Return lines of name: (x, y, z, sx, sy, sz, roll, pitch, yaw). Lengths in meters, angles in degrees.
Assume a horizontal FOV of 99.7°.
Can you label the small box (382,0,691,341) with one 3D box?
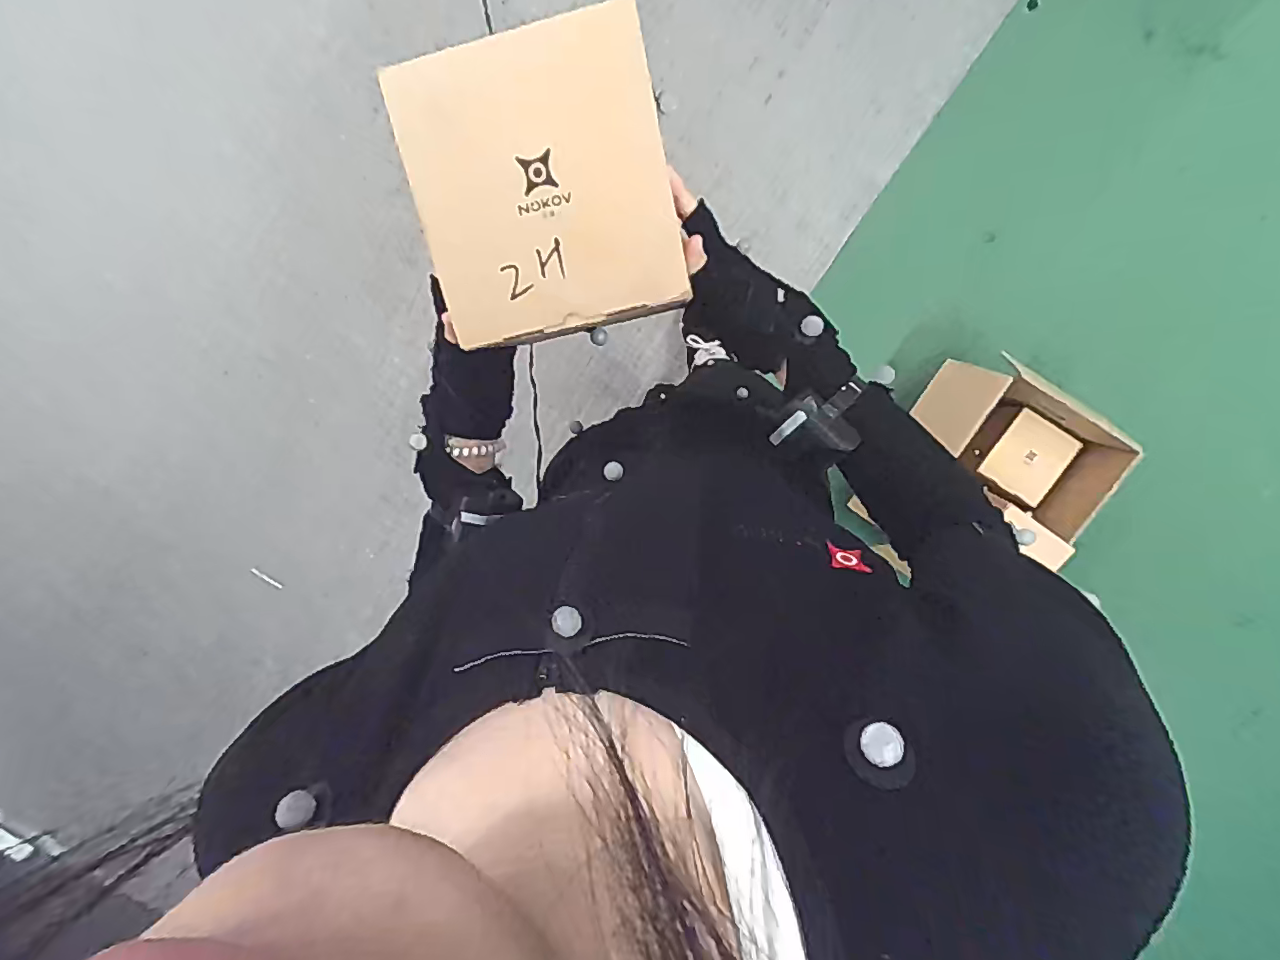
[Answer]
small box: (-0.059, -0.211, 0.420, 0.168, 0.176, 0.179, -11, 105, 7)
